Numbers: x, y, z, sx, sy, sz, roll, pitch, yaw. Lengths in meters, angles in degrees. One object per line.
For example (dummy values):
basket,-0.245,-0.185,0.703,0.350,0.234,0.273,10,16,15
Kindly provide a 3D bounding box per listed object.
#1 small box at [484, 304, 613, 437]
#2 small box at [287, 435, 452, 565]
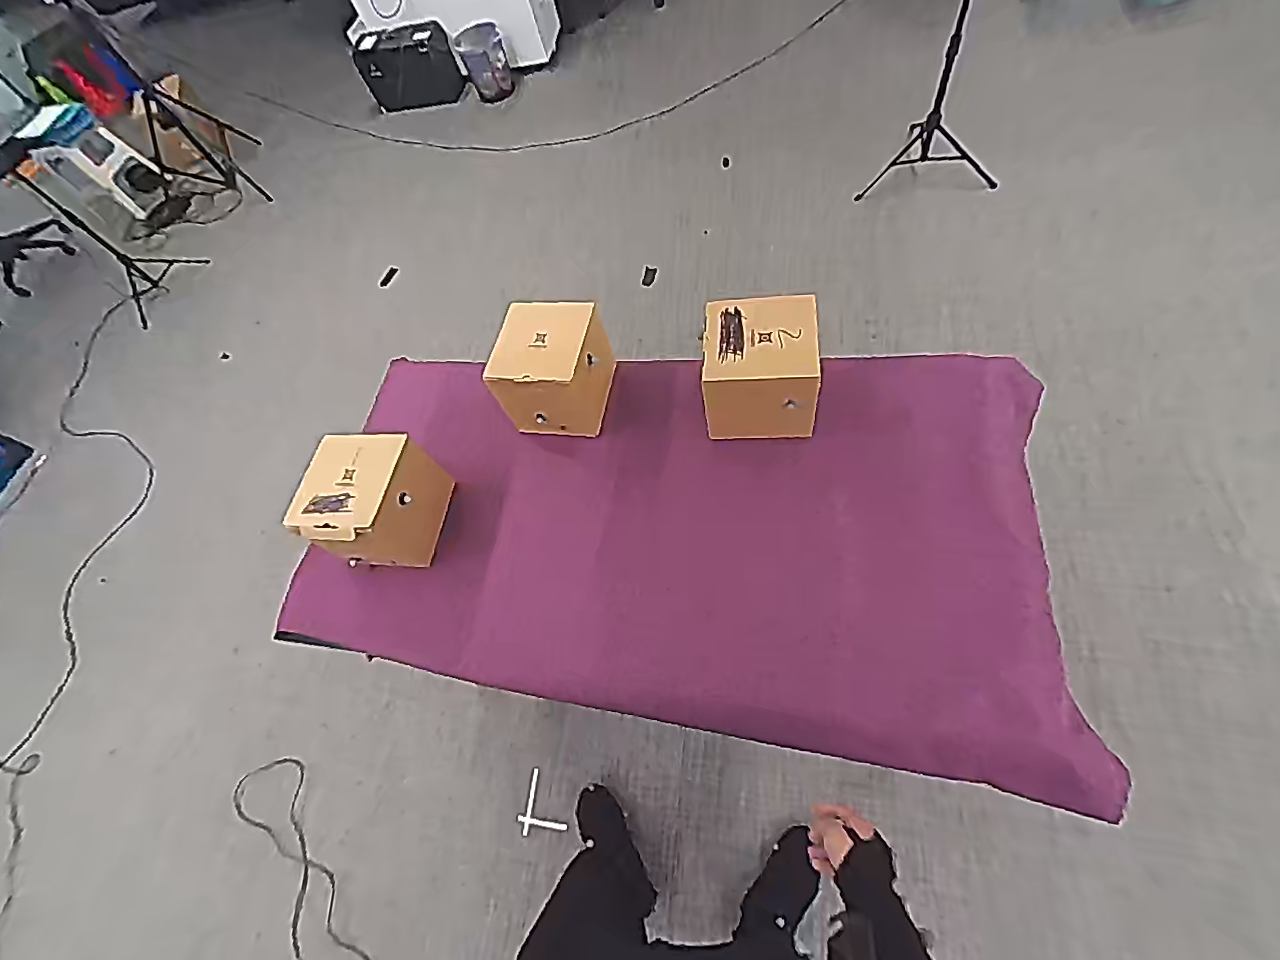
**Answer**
small box,-0.156,-0.201,1.000,0.168,0.176,0.179,5,64,15
small box,-0.456,0.039,0.943,0.168,0.176,0.179,1,61,13
